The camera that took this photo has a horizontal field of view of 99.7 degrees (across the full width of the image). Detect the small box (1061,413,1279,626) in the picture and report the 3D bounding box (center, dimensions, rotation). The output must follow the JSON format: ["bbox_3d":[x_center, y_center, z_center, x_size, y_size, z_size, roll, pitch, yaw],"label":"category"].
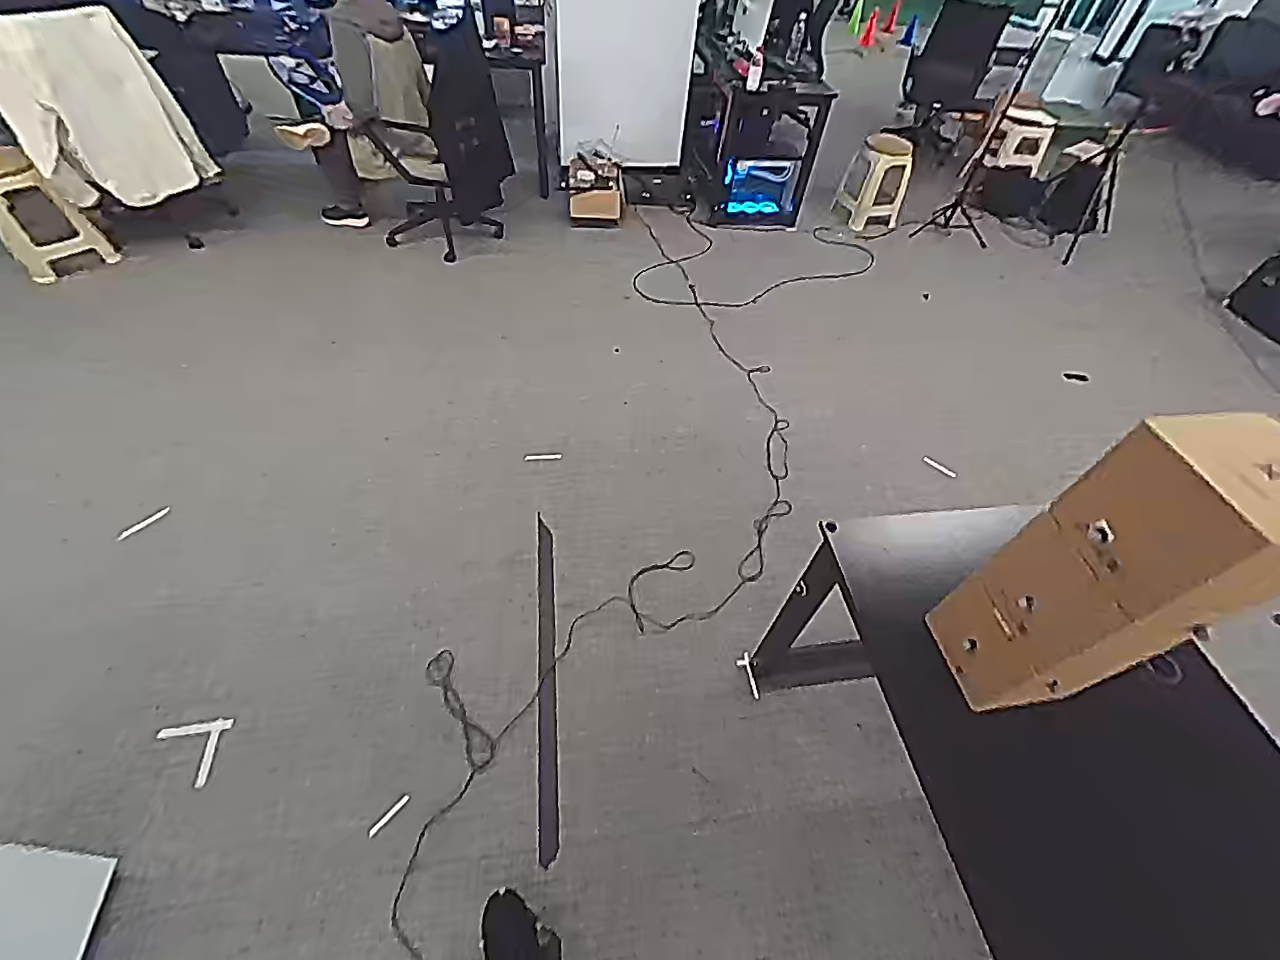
[{"bbox_3d":[0.638,0.045,0.602,0.179,0.176,0.168,-5,50,-9],"label":"small box"}]

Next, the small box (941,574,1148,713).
[{"bbox_3d":[0.614,0.253,0.854,0.179,0.176,0.168,-5,51,-9],"label":"small box"}]

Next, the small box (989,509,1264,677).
[{"bbox_3d":[0.627,0.148,0.728,0.179,0.176,0.168,-4,50,-9],"label":"small box"}]
